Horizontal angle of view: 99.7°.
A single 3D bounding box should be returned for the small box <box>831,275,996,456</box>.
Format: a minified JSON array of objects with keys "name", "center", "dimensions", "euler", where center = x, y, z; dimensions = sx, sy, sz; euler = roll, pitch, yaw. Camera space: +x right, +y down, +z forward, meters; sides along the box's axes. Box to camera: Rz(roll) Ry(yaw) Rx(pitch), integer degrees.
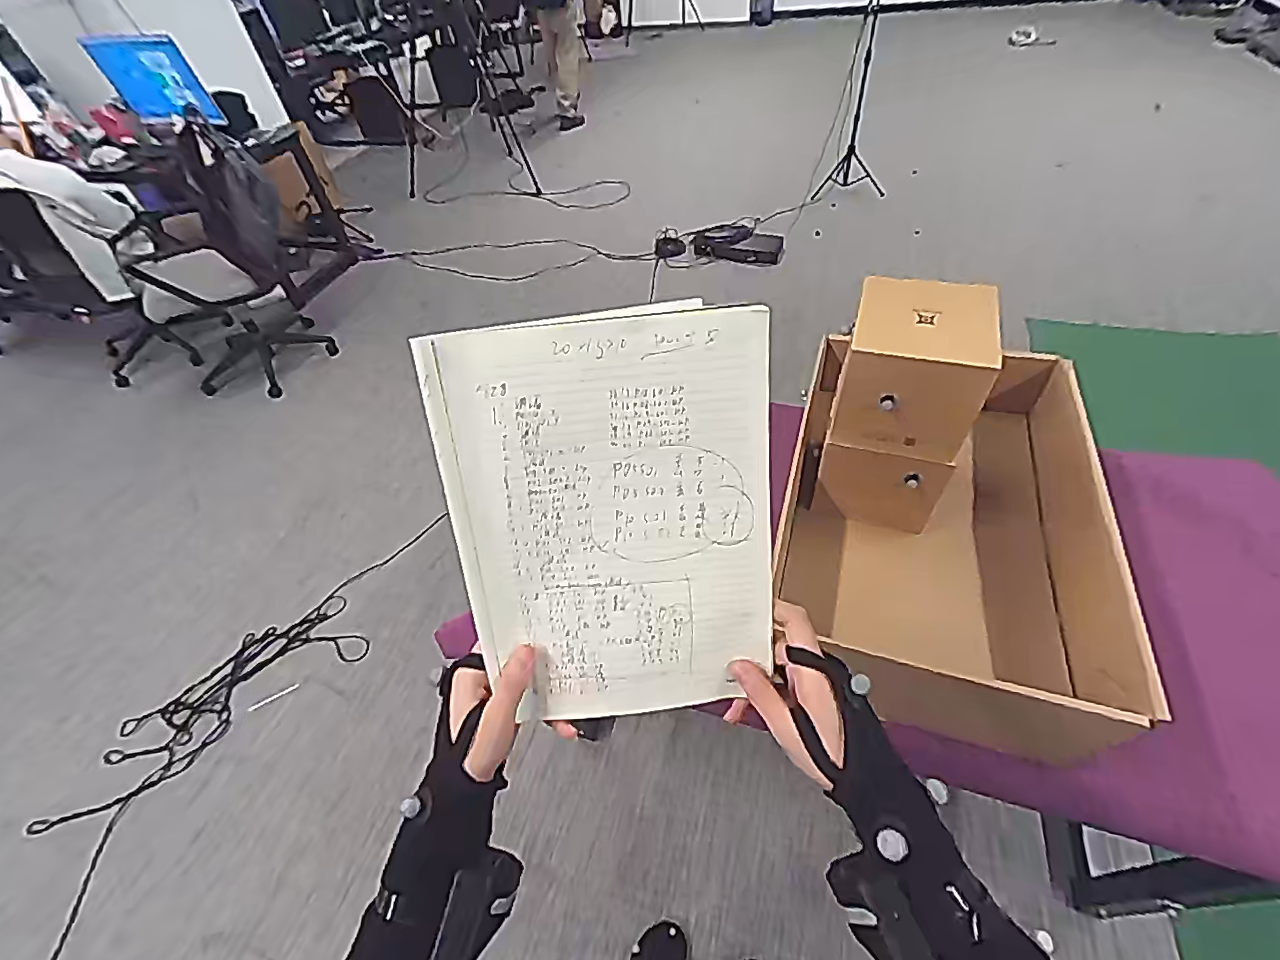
[{"name":"small box","center":[0.367,-0.157,0.745],"dimensions":[0.168,0.176,0.179],"euler":[12,52,18]}]
